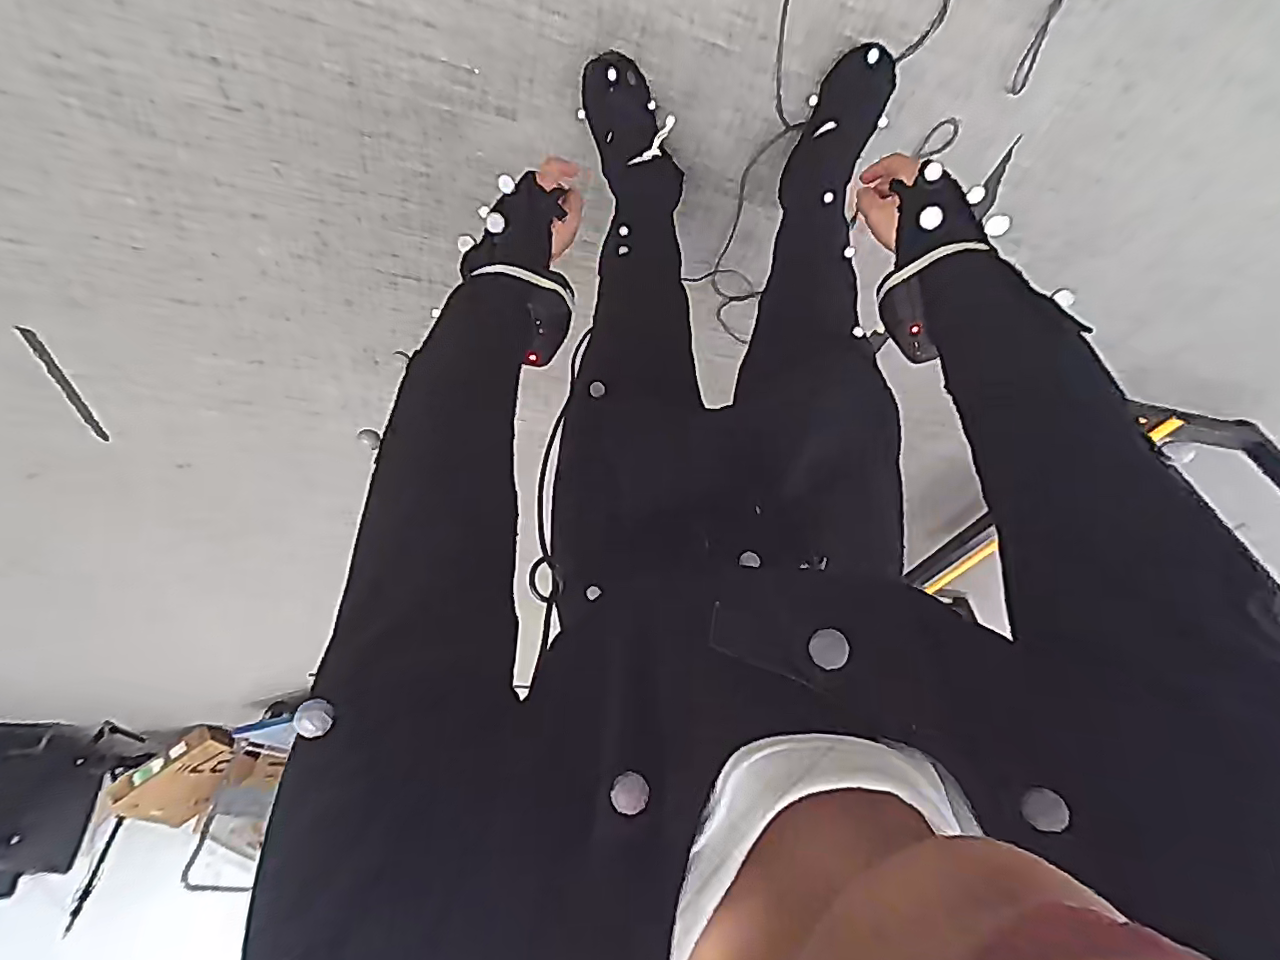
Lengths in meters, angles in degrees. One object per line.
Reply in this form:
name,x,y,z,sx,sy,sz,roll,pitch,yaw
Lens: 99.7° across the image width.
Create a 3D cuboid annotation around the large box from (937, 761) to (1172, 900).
large box,1.216,1.055,1.633,0.408,0.320,0.320,7,141,-14
